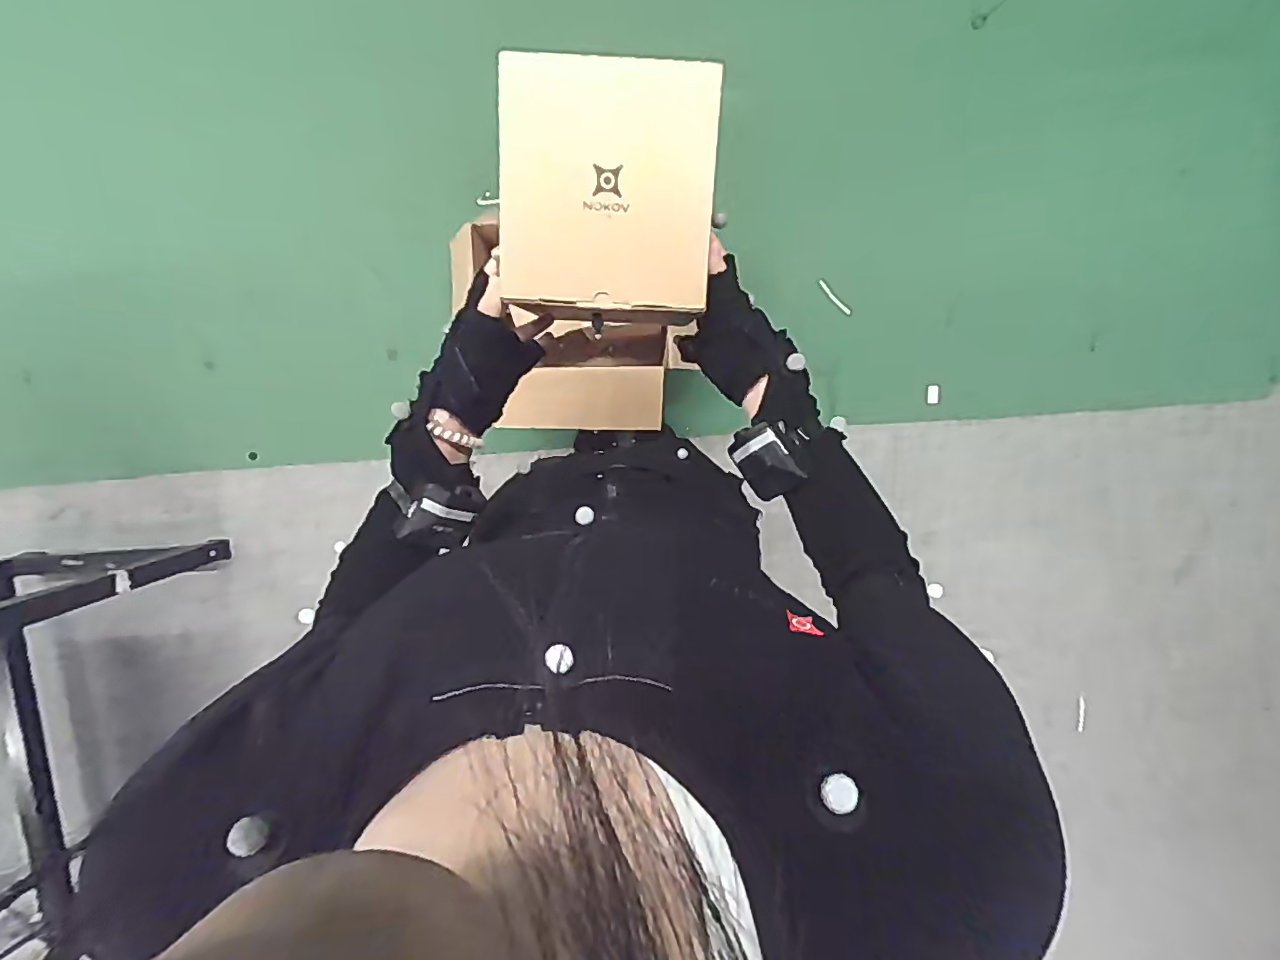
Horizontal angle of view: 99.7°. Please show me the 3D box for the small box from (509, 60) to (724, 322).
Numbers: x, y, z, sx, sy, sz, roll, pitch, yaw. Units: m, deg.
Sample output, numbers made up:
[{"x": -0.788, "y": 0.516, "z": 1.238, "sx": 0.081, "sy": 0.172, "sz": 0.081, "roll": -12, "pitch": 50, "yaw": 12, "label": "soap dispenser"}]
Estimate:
[{"x": -0.023, "y": -0.246, "z": 0.505, "sx": 0.168, "sy": 0.176, "sz": 0.179, "roll": 2, "pitch": 104, "yaw": -1, "label": "small box"}]
